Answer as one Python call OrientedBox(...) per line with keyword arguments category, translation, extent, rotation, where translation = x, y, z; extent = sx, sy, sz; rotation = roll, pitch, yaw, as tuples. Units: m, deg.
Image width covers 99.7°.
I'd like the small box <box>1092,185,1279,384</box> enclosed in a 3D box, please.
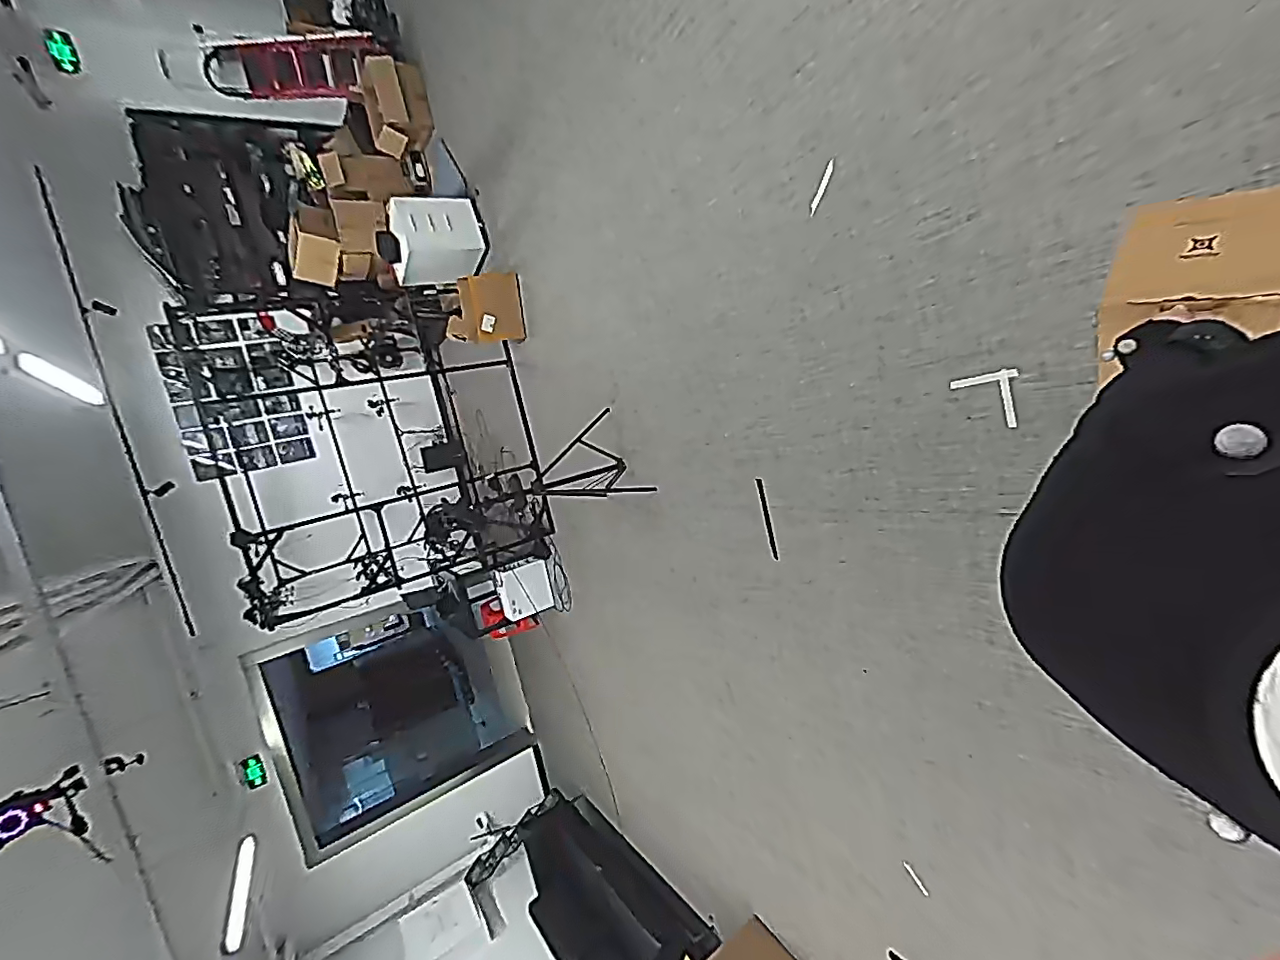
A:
OrientedBox(category="small box", translation=(0.723, -0.243, 0.709), extent=(0.168, 0.179, 0.176), rotation=(14, 159, 45))
